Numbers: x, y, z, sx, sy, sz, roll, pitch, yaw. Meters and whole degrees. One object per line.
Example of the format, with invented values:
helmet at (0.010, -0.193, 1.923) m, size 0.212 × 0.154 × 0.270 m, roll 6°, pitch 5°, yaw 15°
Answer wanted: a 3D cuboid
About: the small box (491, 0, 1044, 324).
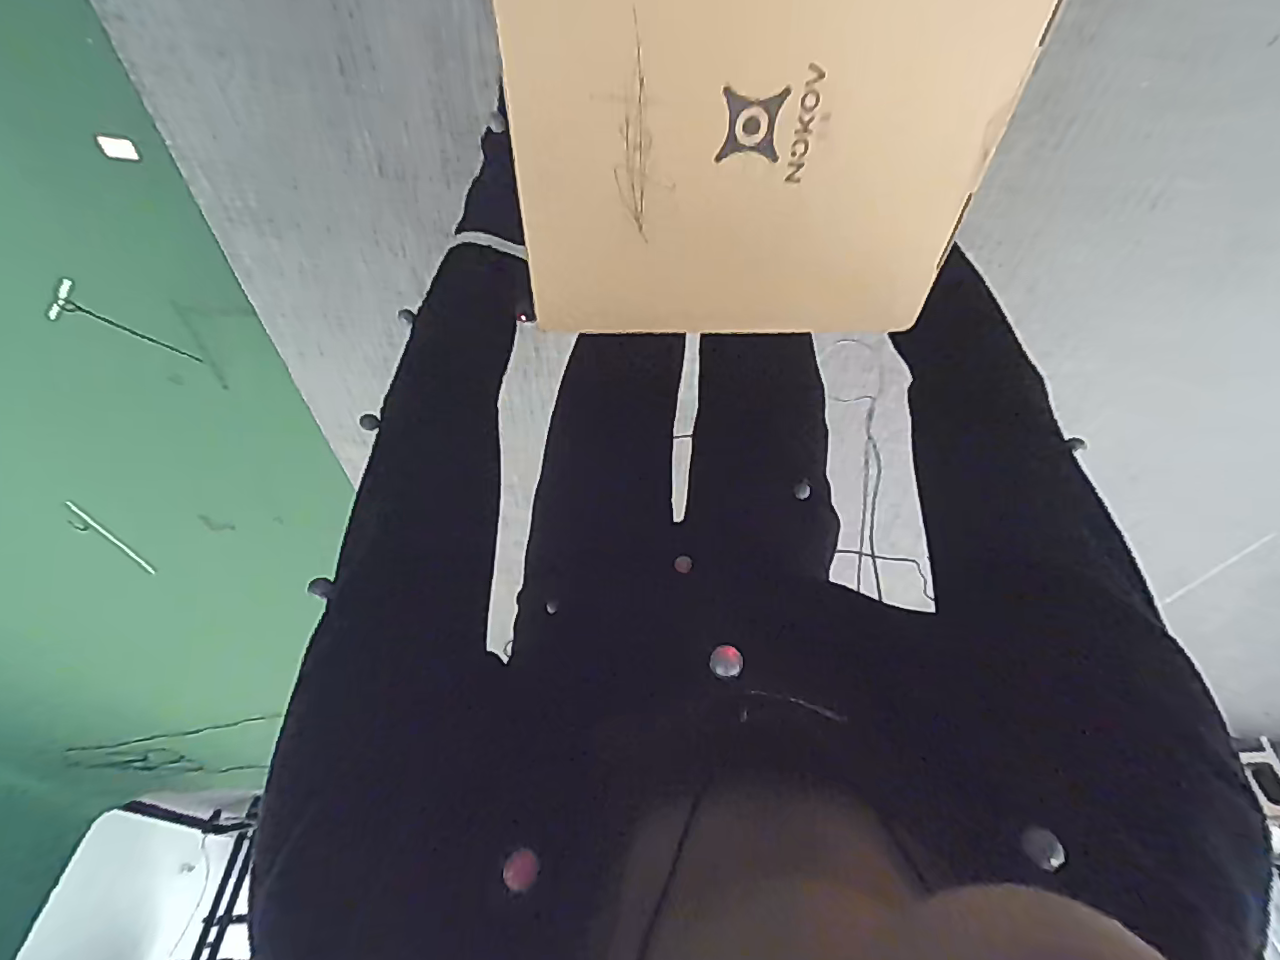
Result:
small box at (0.037, -0.189, 0.242) m, size 0.179 × 0.176 × 0.168 m, roll 1°, pitch 139°, yaw -3°
